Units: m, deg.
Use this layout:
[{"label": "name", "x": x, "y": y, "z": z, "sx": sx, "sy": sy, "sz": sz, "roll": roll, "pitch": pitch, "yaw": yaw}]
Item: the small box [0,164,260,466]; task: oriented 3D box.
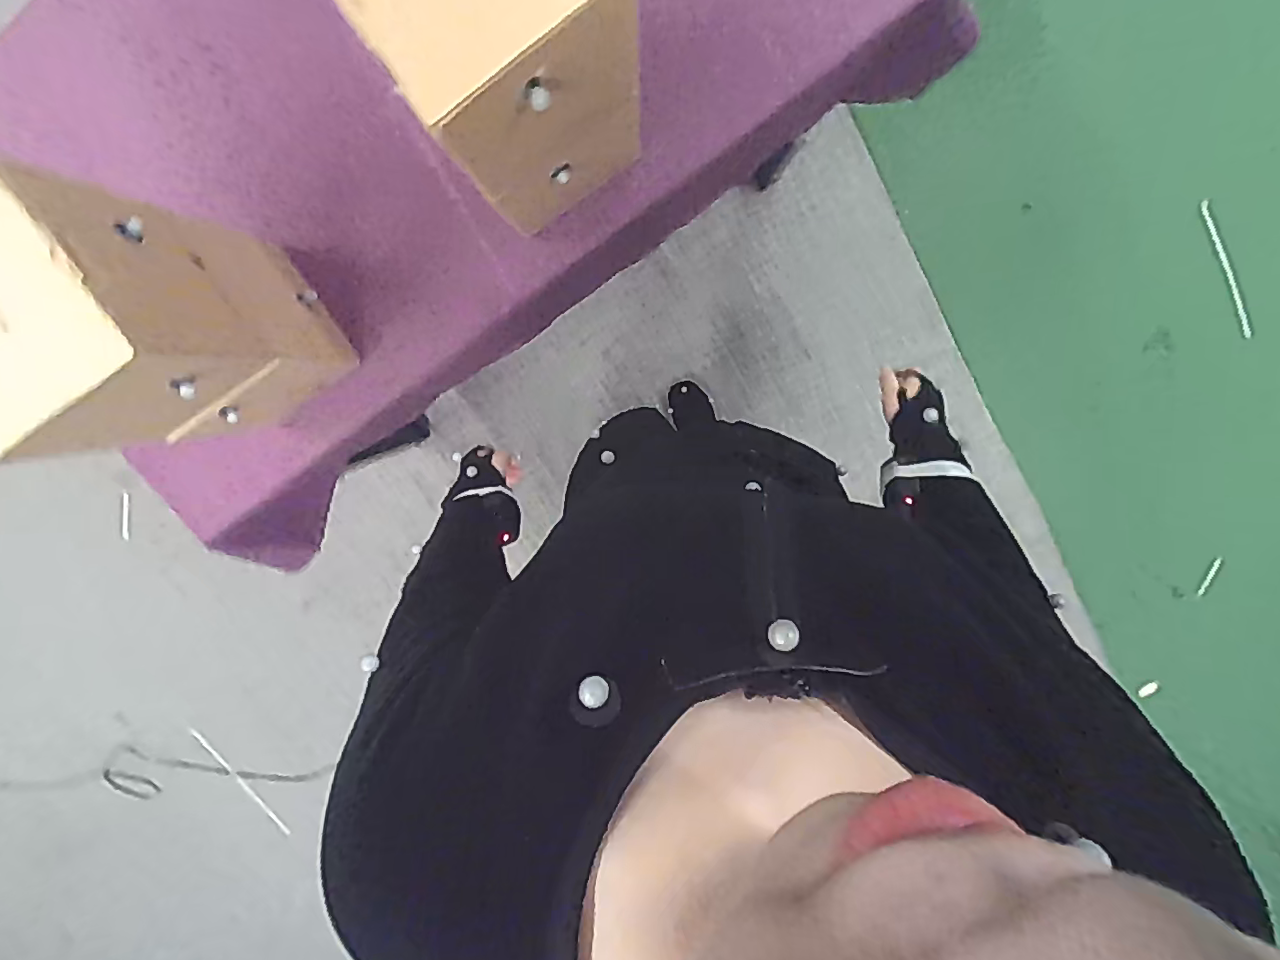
[{"label": "small box", "x": -0.489, "y": -0.136, "z": 0.482, "sx": 0.179, "sy": 0.176, "sz": 0.168, "roll": -31, "pitch": 100, "yaw": 7}]

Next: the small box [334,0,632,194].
[{"label": "small box", "x": -0.121, "y": -0.368, "z": 0.427, "sx": 0.179, "sy": 0.176, "sz": 0.168, "roll": -33, "pitch": 100, "yaw": 8}]

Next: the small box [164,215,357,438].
[{"label": "small box", "x": -0.487, "y": -0.171, "z": 0.642, "sx": 0.168, "sy": 0.176, "sz": 0.179, "roll": -32, "pitch": 99, "yaw": 8}]

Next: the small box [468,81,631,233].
[{"label": "small box", "x": -0.122, "y": -0.401, "z": 0.587, "sx": 0.179, "sy": 0.176, "sz": 0.168, "roll": -33, "pitch": 100, "yaw": 7}]
